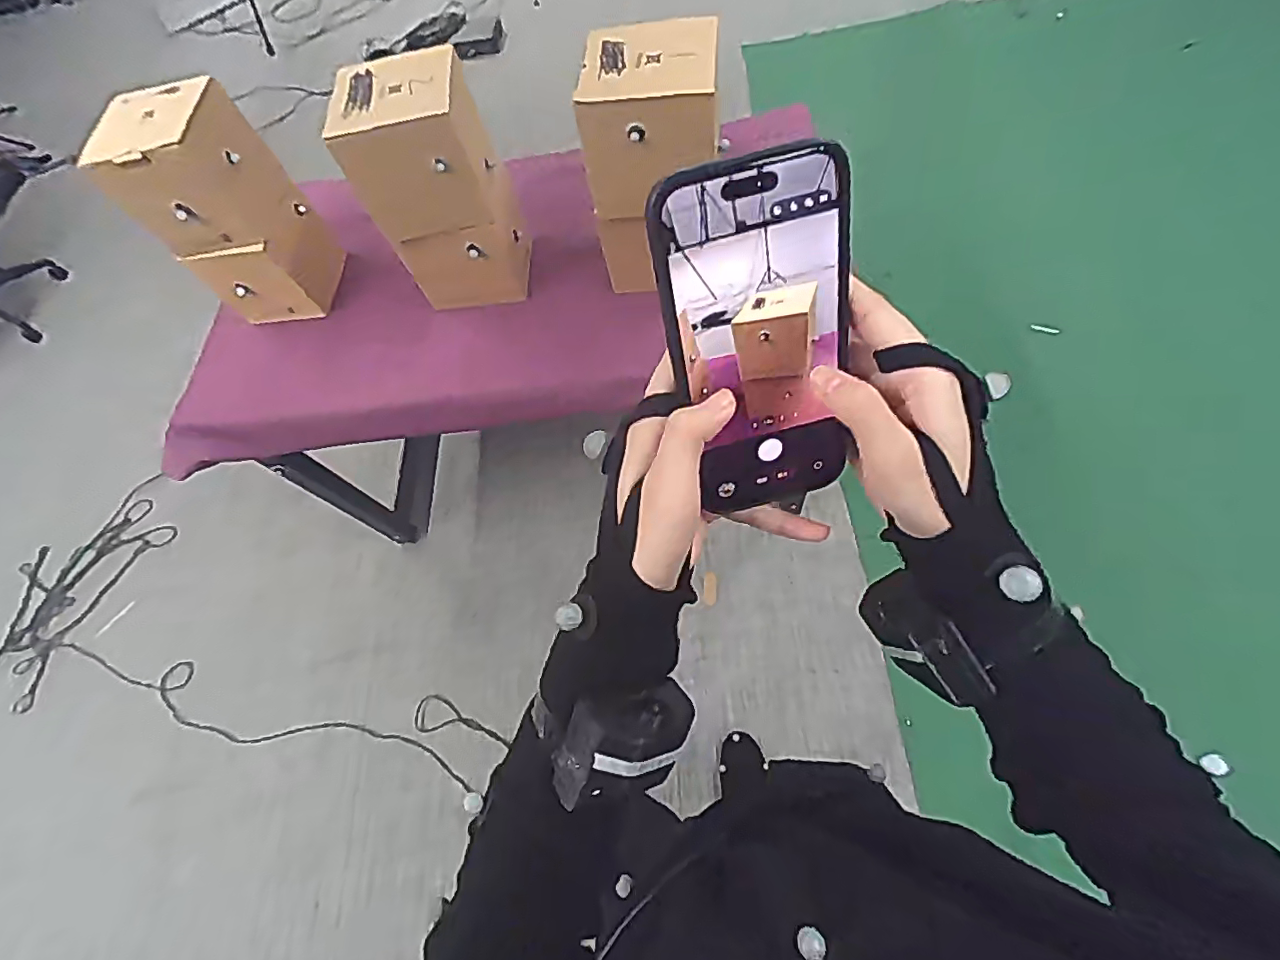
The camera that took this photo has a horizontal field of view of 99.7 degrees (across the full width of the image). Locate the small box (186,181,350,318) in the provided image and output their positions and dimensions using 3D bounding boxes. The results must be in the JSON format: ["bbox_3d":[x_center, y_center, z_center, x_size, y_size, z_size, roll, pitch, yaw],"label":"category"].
[{"bbox_3d":[-0.685,-0.425,1.022,0.168,0.176,0.179,-2,64,8],"label":"small box"}]

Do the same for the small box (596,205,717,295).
[{"bbox_3d":[0.038,-0.432,0.911,0.179,0.176,0.168,3,65,11],"label":"small box"}]

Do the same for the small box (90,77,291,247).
[{"bbox_3d":[-0.709,-0.502,0.879,0.168,0.176,0.179,-7,64,5],"label":"small box"}]

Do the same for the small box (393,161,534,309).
[{"bbox_3d":[-0.299,-0.427,0.960,0.179,0.176,0.168,-3,64,8],"label":"small box"}]

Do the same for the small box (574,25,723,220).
[{"bbox_3d":[0.023,-0.488,0.757,0.179,0.176,0.168,2,65,10],"label":"small box"}]
